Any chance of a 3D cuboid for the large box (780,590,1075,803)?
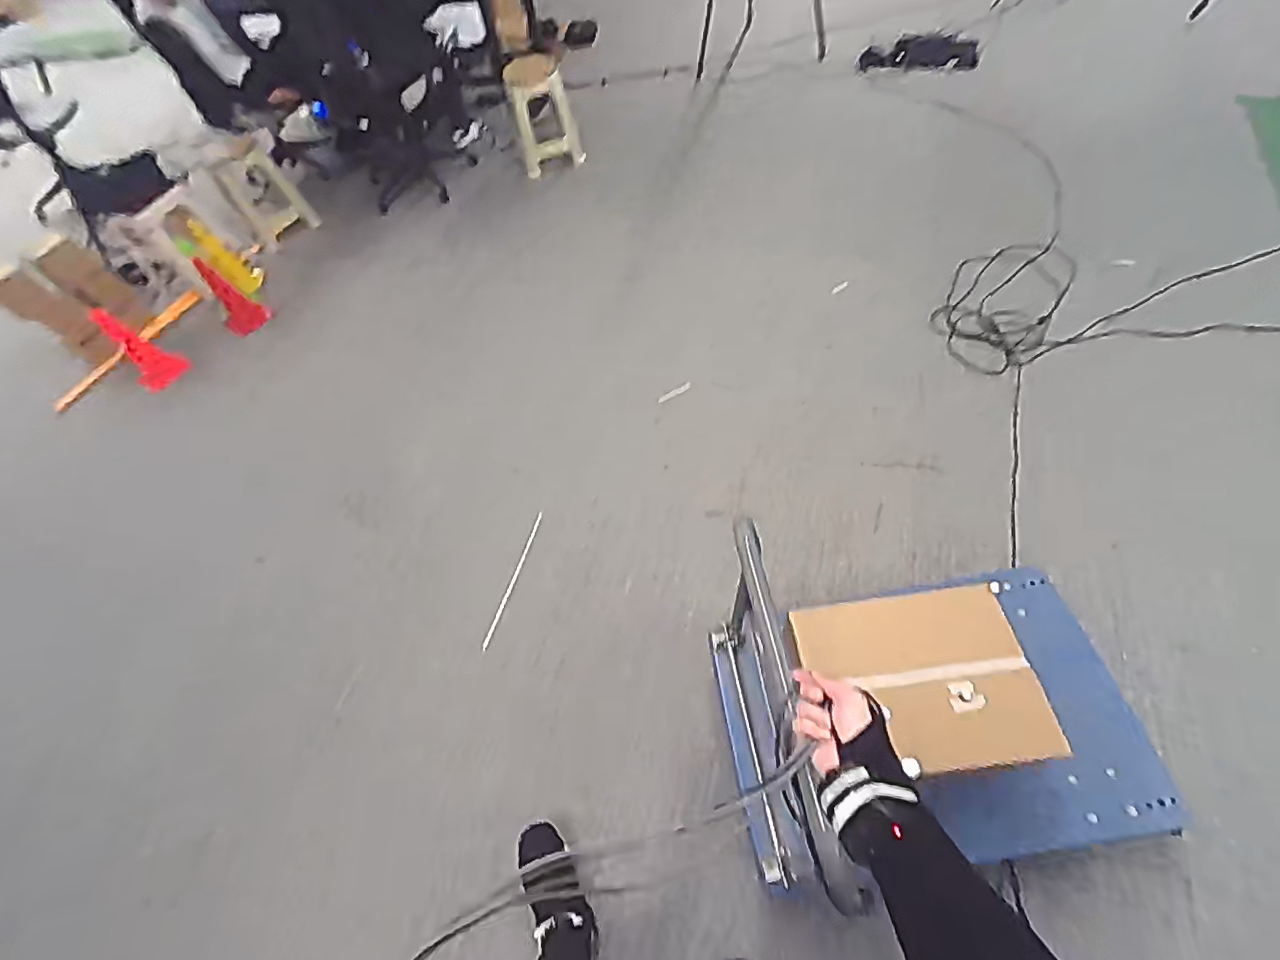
[{"bbox_3d":[0.535,0.455,1.114,0.408,0.320,0.320,-8,56,2],"label":"large box"}]
